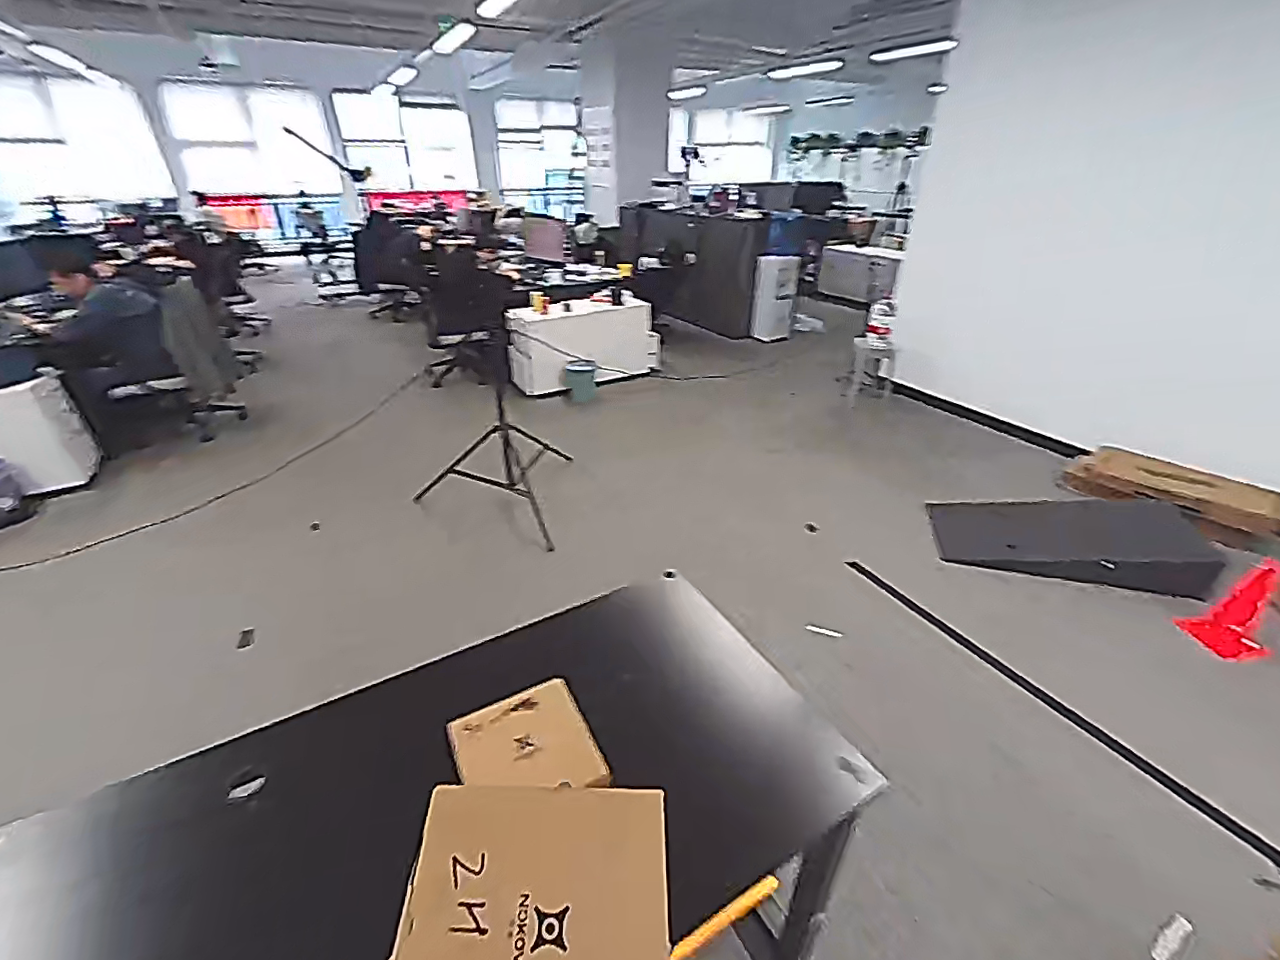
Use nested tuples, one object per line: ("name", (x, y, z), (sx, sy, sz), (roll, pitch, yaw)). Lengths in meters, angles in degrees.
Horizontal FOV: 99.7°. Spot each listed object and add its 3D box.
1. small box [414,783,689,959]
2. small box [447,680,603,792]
("small box", (-0.062, 0.348, 0.408), (0.179, 0.176, 0.168), (4, 44, -4))
("small box", (-0.153, 0.425, 0.750), (0.168, 0.176, 0.179), (-16, 33, -24))
